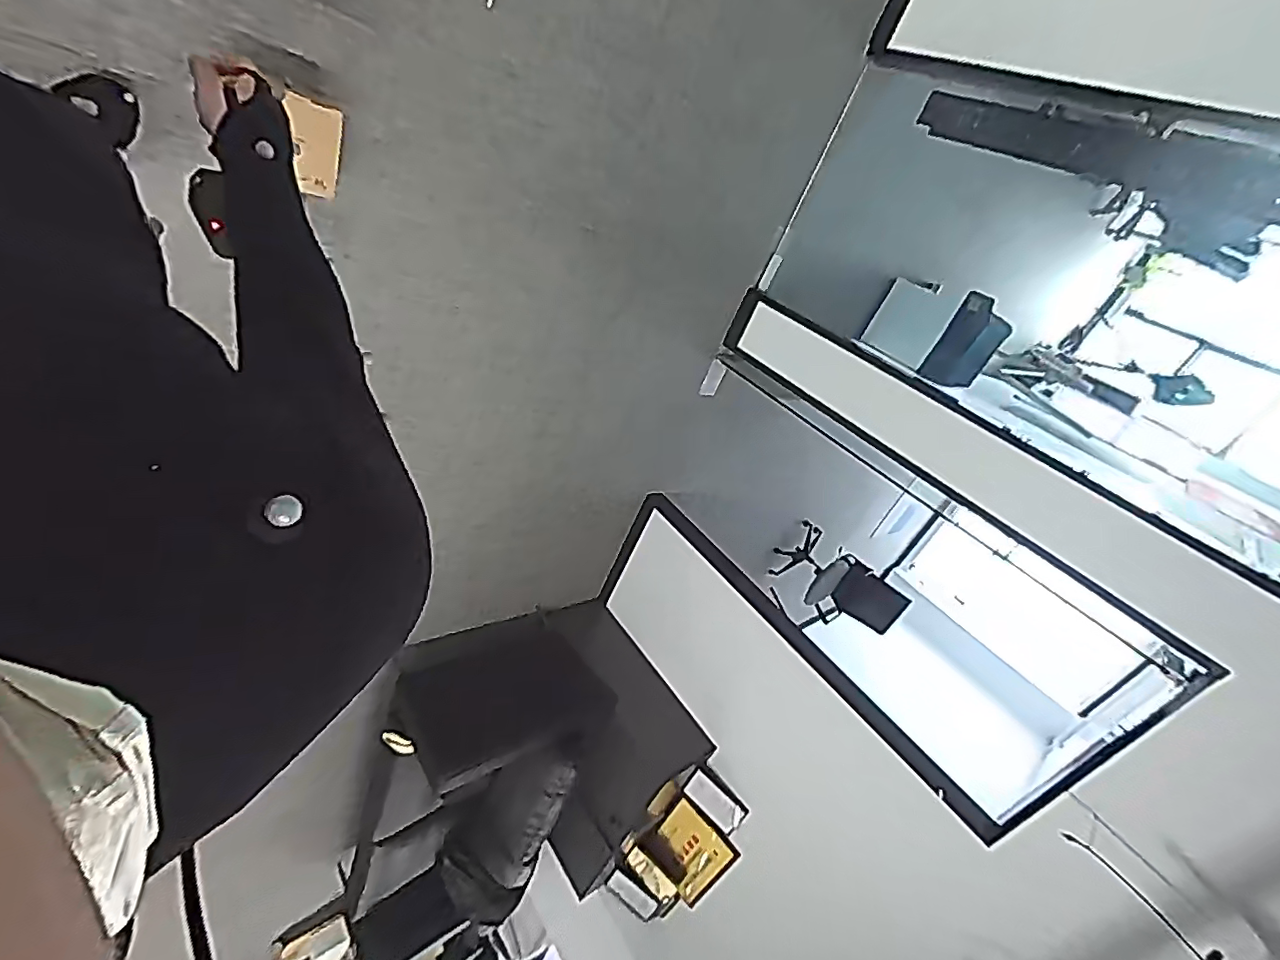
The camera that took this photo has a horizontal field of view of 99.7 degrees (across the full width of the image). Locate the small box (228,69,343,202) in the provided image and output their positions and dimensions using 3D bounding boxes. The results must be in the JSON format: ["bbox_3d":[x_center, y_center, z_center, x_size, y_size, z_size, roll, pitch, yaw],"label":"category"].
[{"bbox_3d":[-0.744,-0.718,1.129,0.168,0.176,0.179,-5,129,-45],"label":"small box"}]
